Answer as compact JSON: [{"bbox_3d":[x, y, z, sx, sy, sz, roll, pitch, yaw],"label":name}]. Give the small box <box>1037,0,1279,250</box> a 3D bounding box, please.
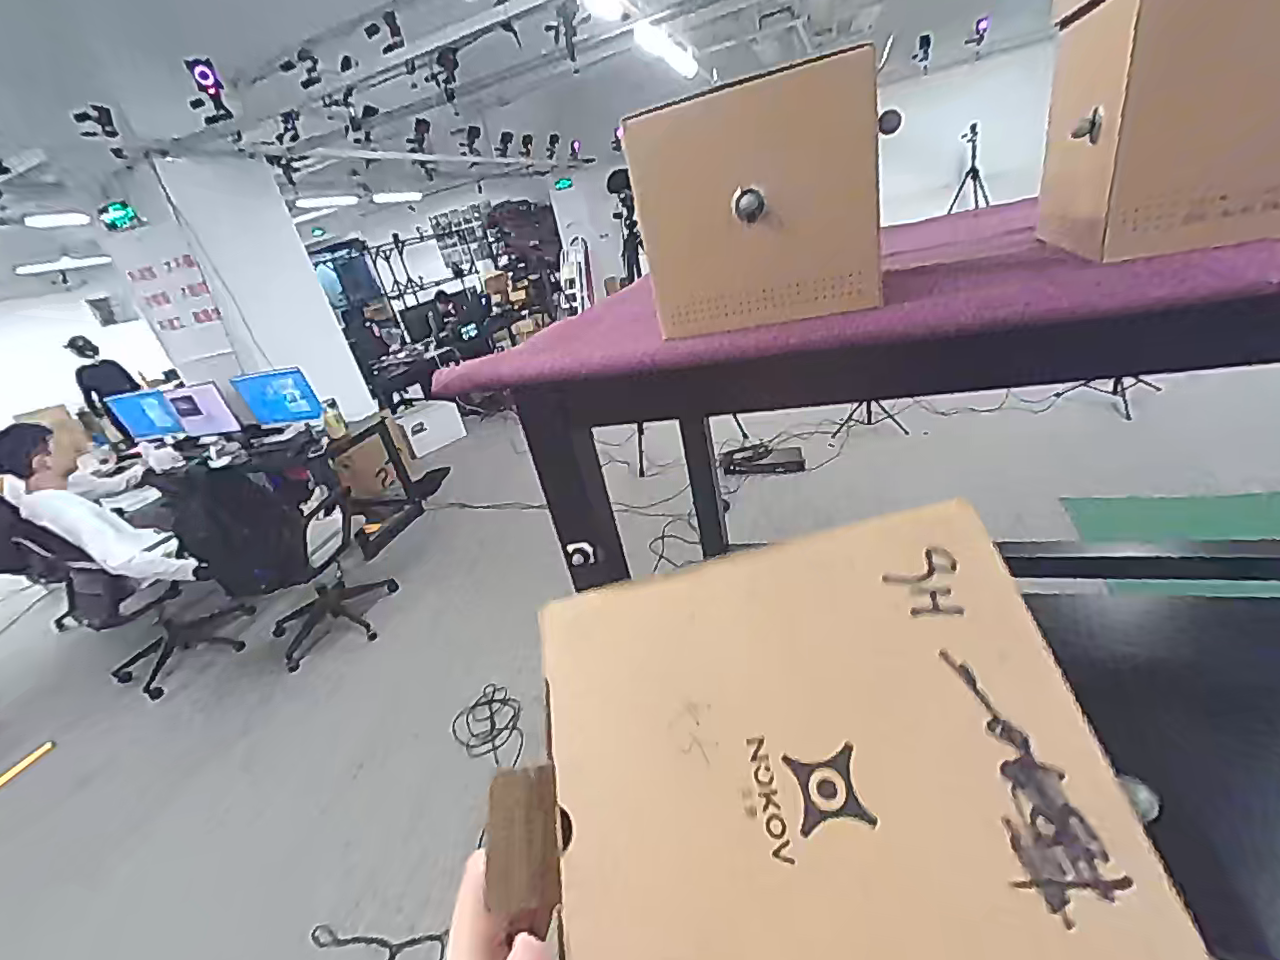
[{"bbox_3d":[0.408,-0.269,0.382,0.168,0.176,0.179,-2,27,22],"label":"small box"}]
